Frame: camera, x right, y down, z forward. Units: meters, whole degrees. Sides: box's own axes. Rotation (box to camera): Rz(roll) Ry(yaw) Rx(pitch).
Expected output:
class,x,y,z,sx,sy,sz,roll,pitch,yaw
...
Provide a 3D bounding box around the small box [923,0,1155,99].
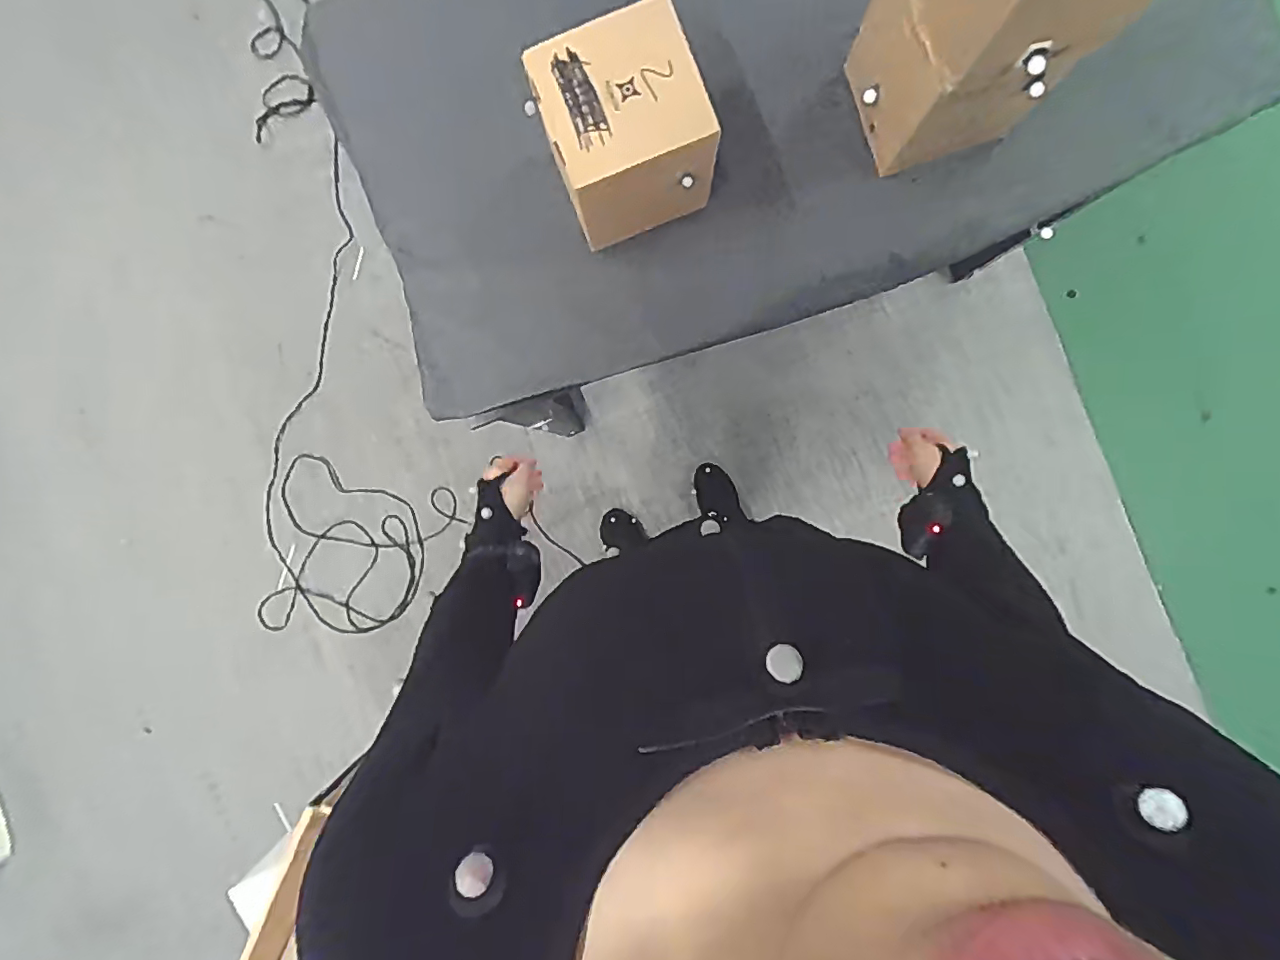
class,x,y,z,sx,sy,sz,roll,pitch,yaw
small box,0.373,-0.500,0.486,0.168,0.176,0.179,-16,91,5

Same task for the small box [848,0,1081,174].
class,x,y,z,sx,sy,sz,roll,pitch,yaw
small box,0.380,-0.510,0.648,0.179,0.176,0.168,-17,89,3
